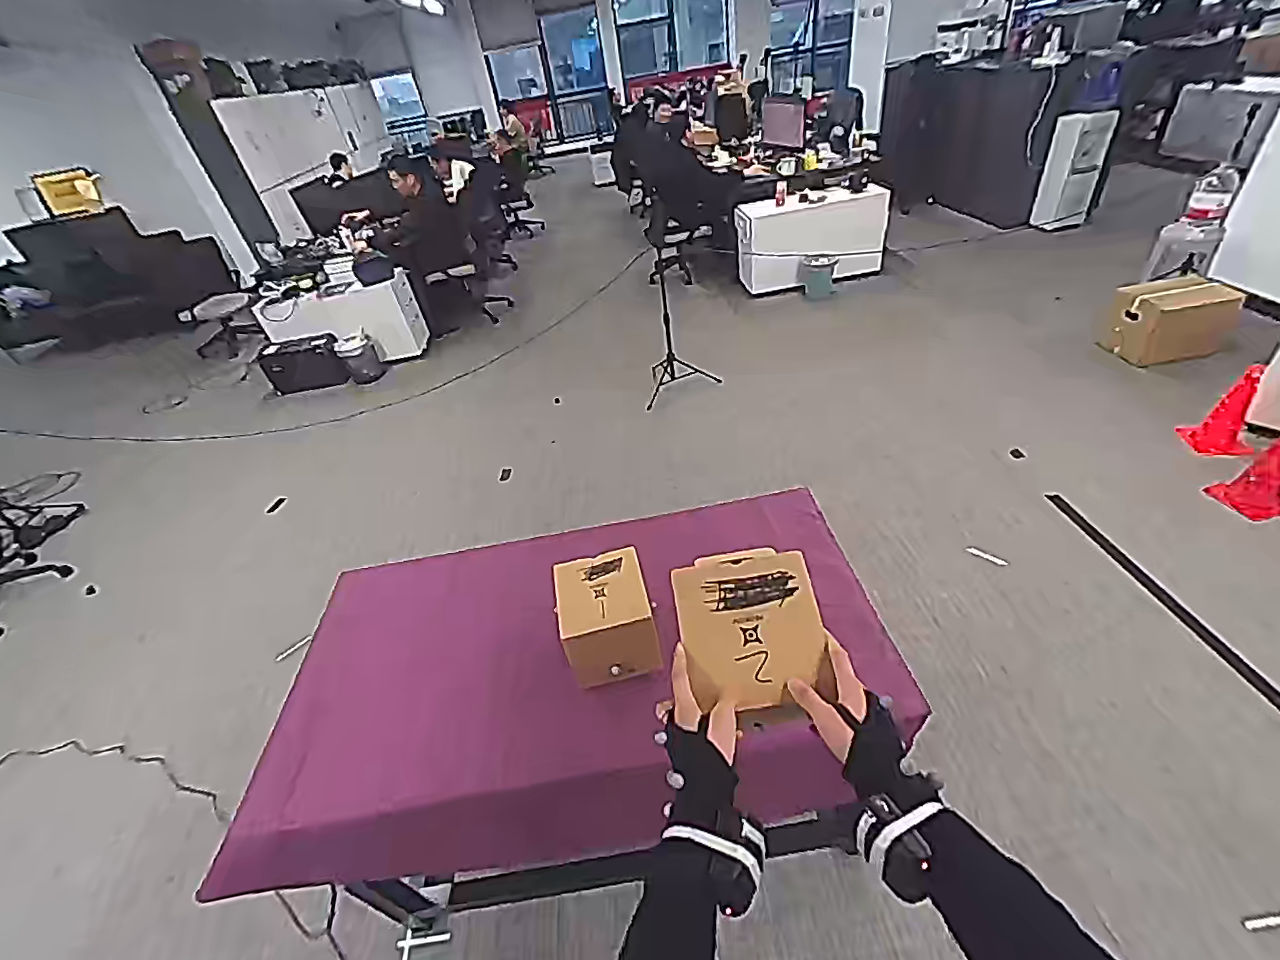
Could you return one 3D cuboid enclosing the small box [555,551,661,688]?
[{"bbox_3d":[-0.063,0.271,1.056,0.168,0.176,0.179,-14,39,-3],"label":"small box"}]
